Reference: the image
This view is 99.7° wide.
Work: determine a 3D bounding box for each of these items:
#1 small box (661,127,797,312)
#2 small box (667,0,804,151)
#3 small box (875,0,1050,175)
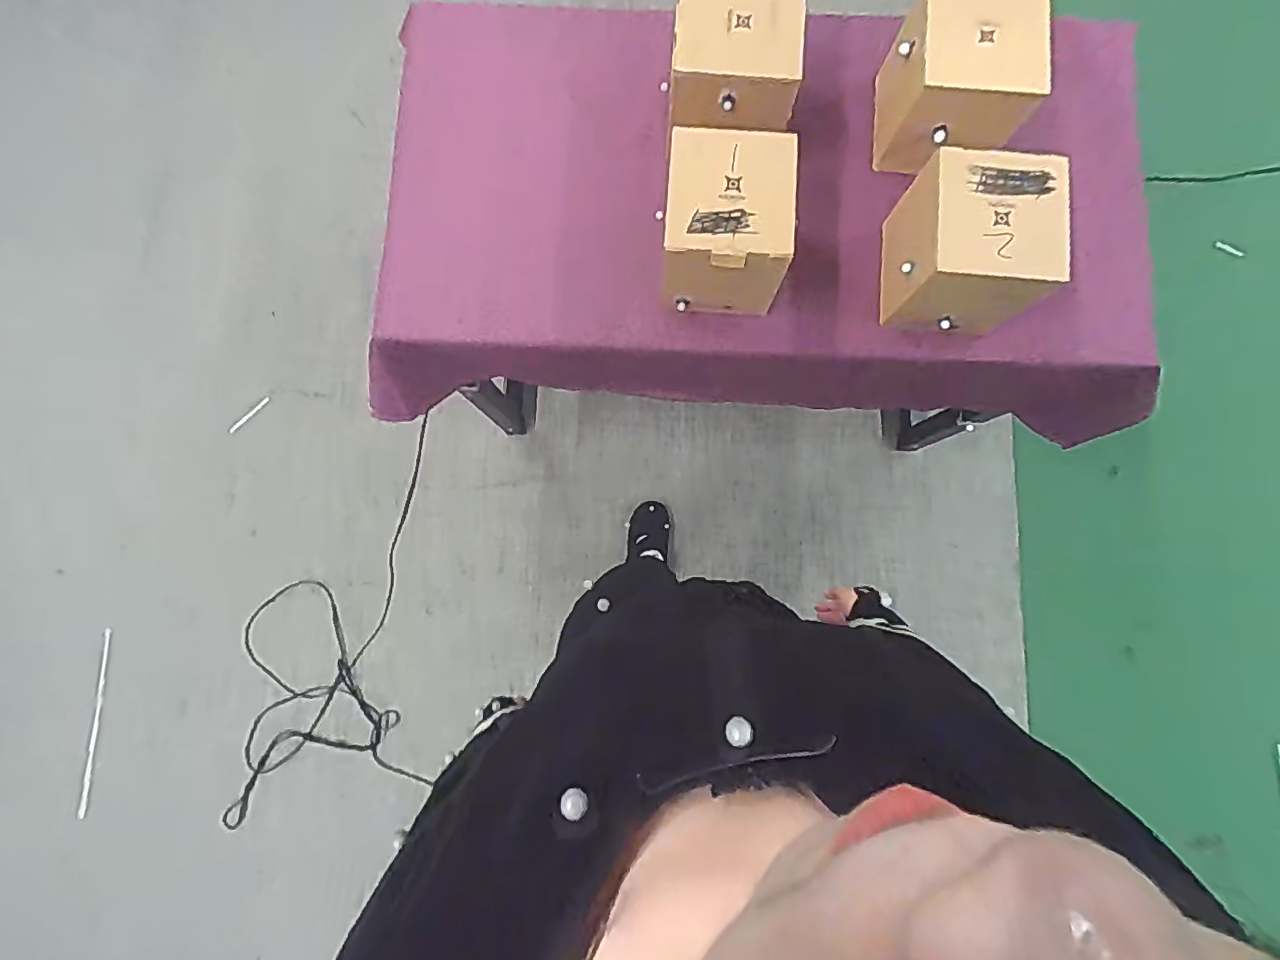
[{"bbox_3d":[0.117,-0.357,0.769,0.168,0.176,0.179,4,81,1],"label":"small box"},{"bbox_3d":[0.134,-0.604,0.806,0.179,0.176,0.168,6,83,1],"label":"small box"},{"bbox_3d":[0.462,-0.584,0.796,0.168,0.176,0.179,5,81,2],"label":"small box"}]
